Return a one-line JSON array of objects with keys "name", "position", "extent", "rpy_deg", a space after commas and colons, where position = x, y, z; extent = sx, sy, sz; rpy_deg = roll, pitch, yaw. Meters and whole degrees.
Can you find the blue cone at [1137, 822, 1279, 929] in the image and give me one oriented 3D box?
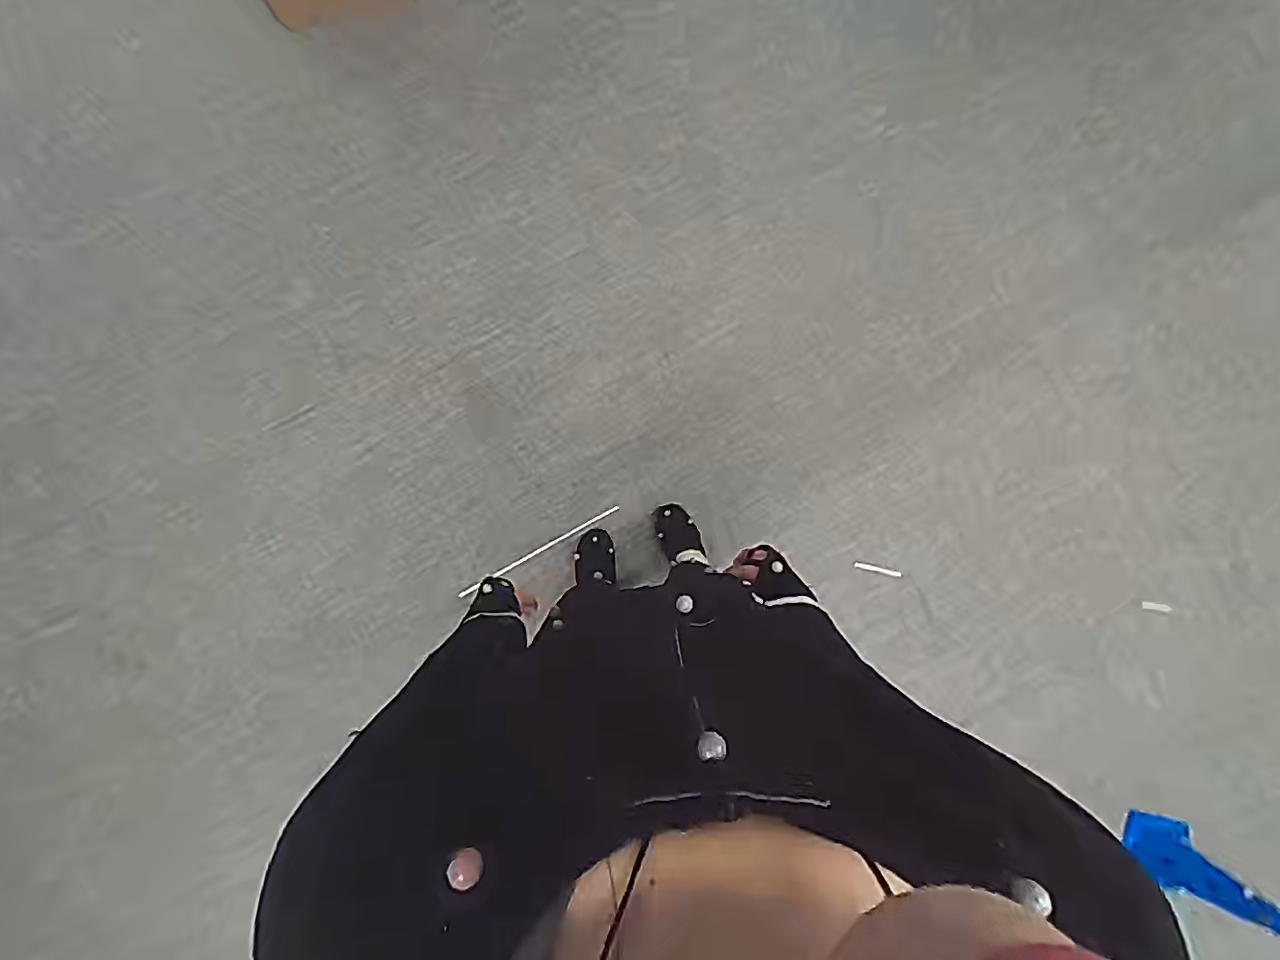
[{"name": "blue cone", "position": [1.532, 1.068, 1.385], "extent": [0.192, 0.380, 0.193], "rpy_deg": [15, 82, -2]}]
